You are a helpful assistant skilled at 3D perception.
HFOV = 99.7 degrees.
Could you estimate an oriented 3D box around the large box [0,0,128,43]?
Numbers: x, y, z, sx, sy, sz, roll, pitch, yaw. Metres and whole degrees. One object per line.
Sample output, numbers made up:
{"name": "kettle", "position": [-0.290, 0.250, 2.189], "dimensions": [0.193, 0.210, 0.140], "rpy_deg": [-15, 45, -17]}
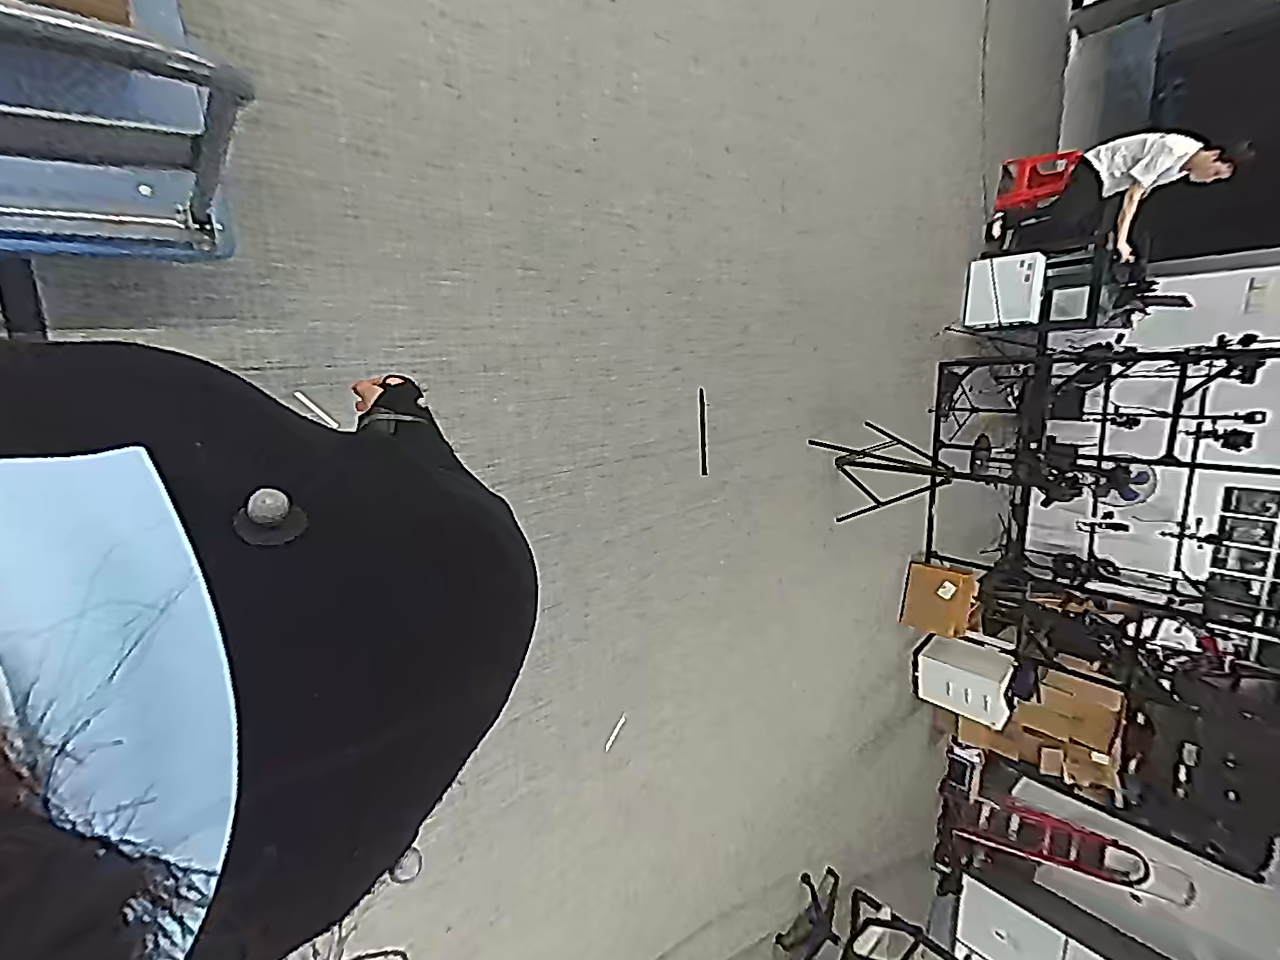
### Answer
{"name": "large box", "position": [-0.921, -0.812, 0.638], "dimensions": [0.408, 0.320, 0.320], "rpy_deg": [-14, 106, -39]}
